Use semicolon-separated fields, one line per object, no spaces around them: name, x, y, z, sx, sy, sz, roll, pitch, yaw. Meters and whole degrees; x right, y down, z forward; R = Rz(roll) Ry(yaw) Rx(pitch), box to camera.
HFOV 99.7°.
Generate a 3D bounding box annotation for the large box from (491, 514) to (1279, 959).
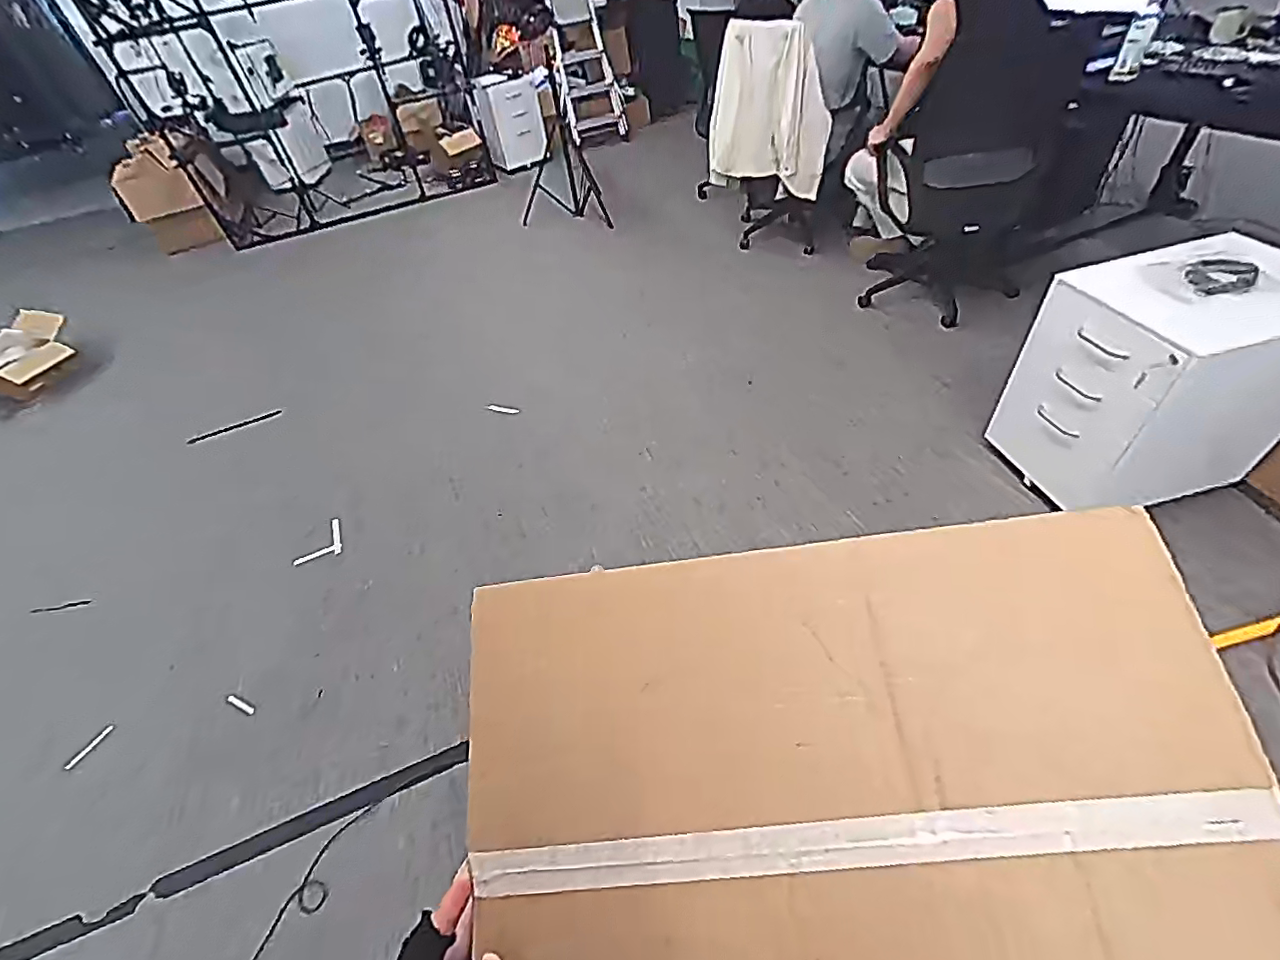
large box;0.132;0.245;0.424;0.408;0.320;0.320;-8;69;6
